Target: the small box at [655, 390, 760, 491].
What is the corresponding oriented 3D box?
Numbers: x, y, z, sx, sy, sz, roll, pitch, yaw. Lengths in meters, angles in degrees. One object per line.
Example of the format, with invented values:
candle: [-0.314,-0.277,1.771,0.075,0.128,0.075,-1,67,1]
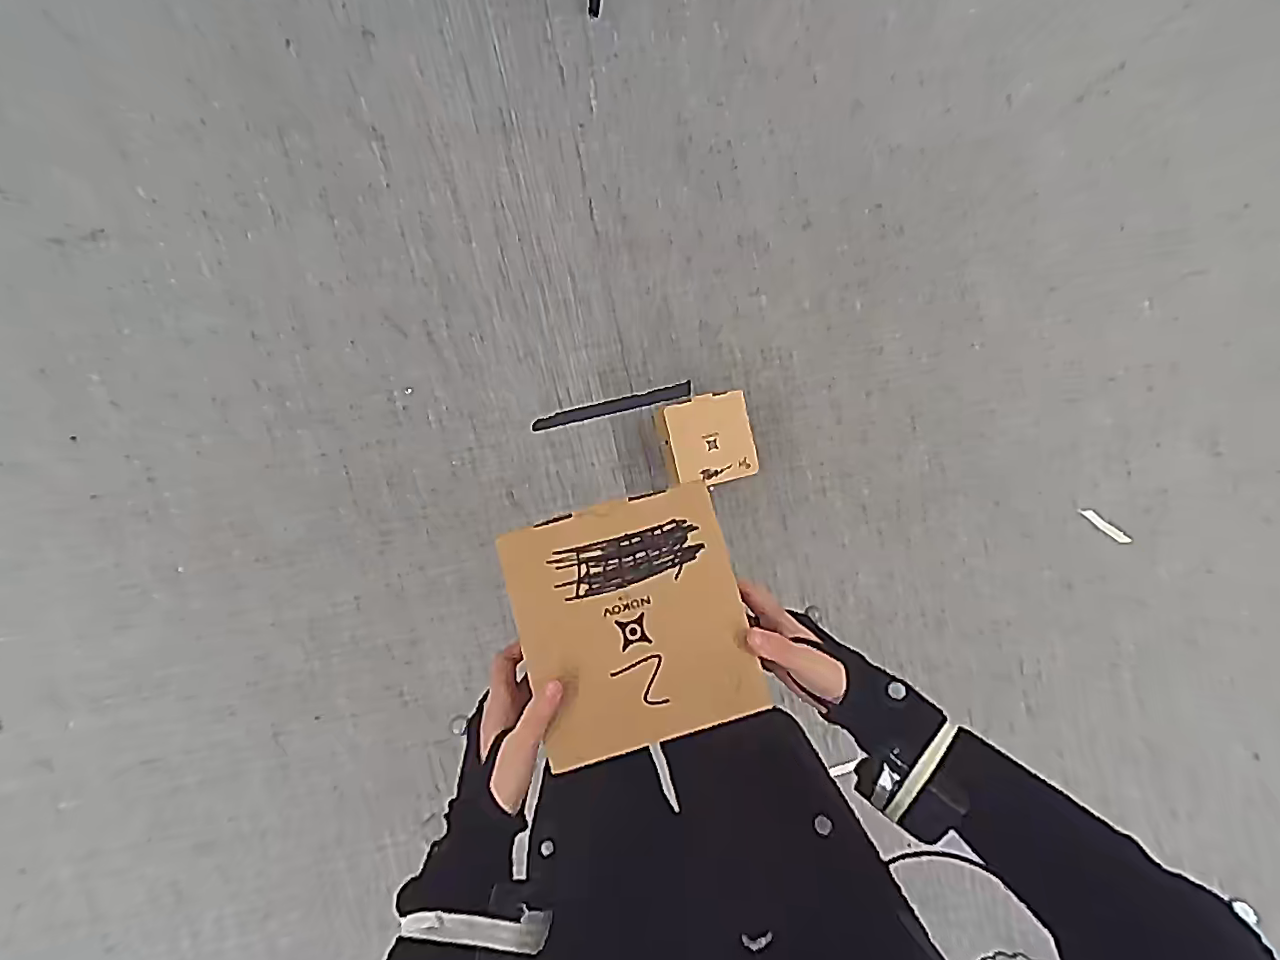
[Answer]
small box: [0.135,-0.081,1.151,0.168,0.176,0.179,-14,95,-5]
